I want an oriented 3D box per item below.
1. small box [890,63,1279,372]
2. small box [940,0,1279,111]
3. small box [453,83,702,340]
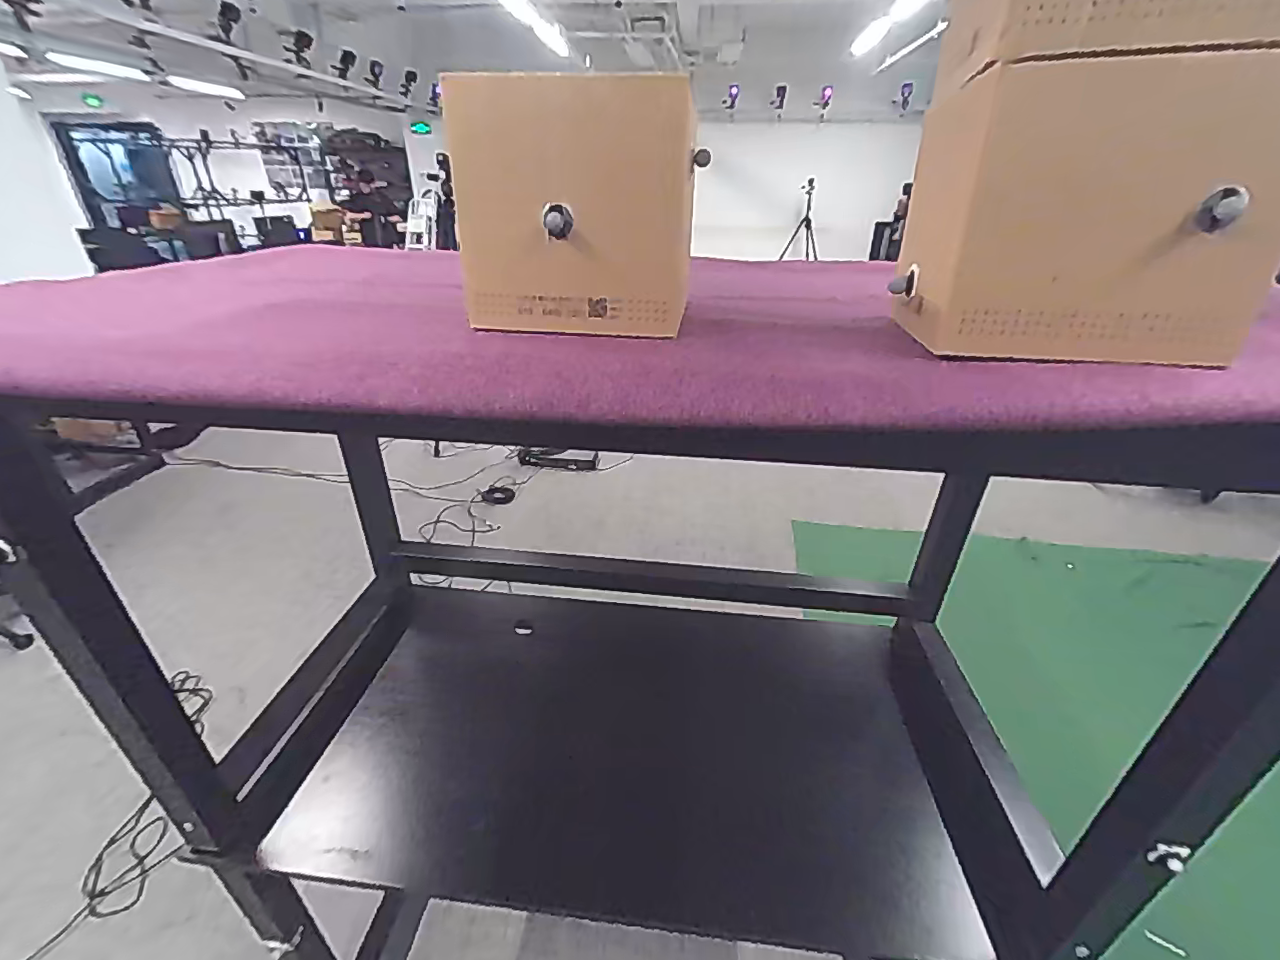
[{"bbox_3d":[0.305,-0.180,0.397,0.179,0.176,0.168,4,26,11],"label":"small box"},{"bbox_3d":[0.304,-0.329,0.332,0.179,0.176,0.168,7,26,13],"label":"small box"},{"bbox_3d":[-0.036,-0.224,0.464,0.168,0.176,0.179,5,28,5],"label":"small box"}]
